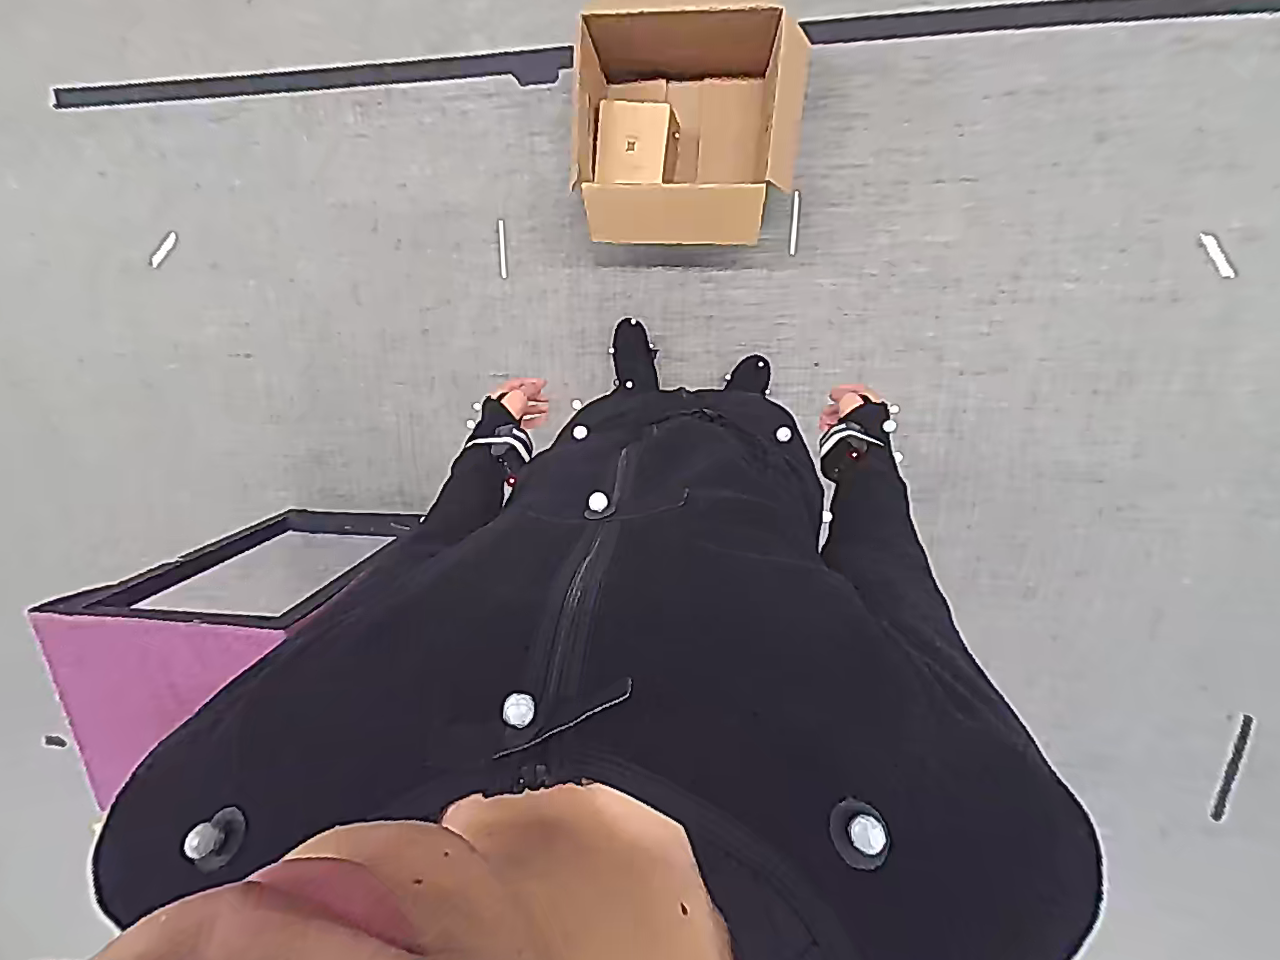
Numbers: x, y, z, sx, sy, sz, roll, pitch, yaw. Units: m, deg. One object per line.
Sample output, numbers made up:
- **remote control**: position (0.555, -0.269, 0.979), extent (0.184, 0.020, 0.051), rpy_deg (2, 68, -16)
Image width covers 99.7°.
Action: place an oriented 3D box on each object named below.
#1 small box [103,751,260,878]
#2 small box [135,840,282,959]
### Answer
- **small box**: position (-0.957, 0.705, 1.152), extent (0.179, 0.176, 0.168), rpy_deg (-7, 105, 10)
- **small box**: position (-0.966, 0.948, 1.225), extent (0.179, 0.176, 0.168), rpy_deg (-2, 106, 8)
